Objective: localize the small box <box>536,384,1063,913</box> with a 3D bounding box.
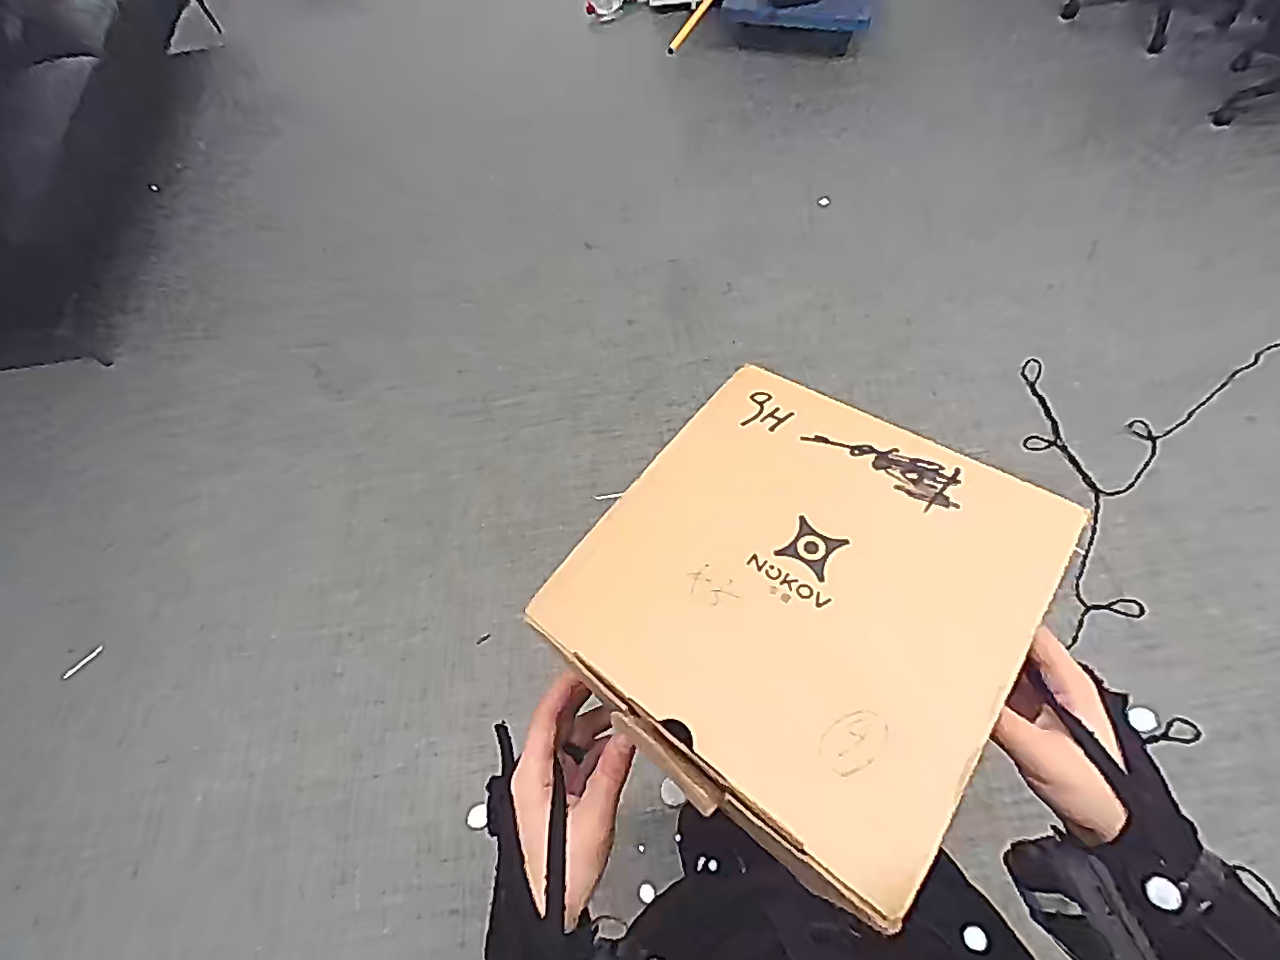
[{"bbox_3d":[0.079,0.086,0.302,0.168,0.176,0.179,31,67,26],"label":"small box"}]
